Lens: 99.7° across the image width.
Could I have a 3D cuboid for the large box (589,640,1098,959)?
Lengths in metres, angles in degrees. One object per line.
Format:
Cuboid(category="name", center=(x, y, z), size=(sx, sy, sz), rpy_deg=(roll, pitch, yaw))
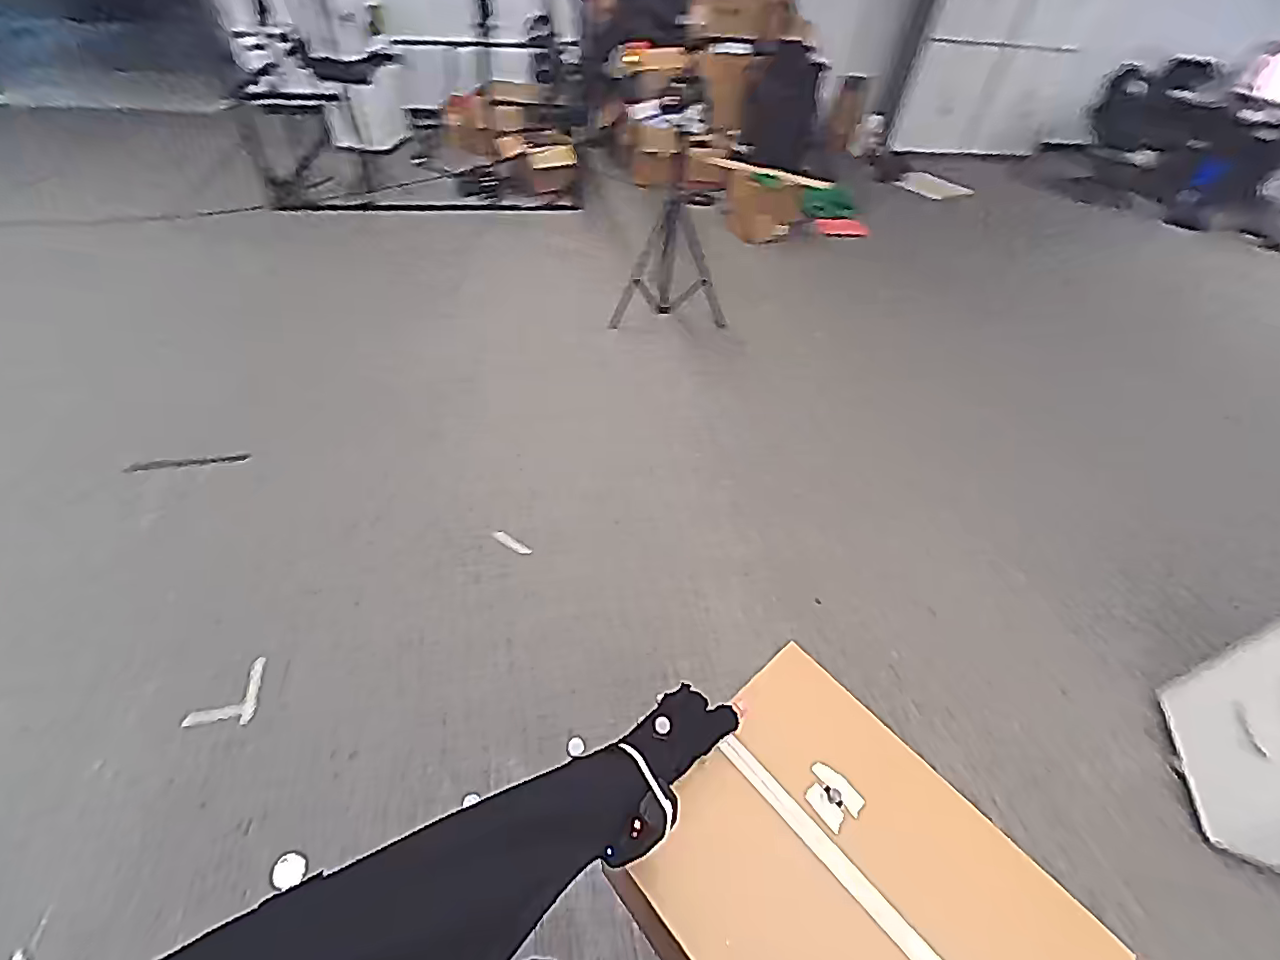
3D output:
Cuboid(category="large box", center=(0.186, 0.486, 0.640), size=(0.320, 0.320, 0.408), rpy_deg=(-32, 57, -29))
